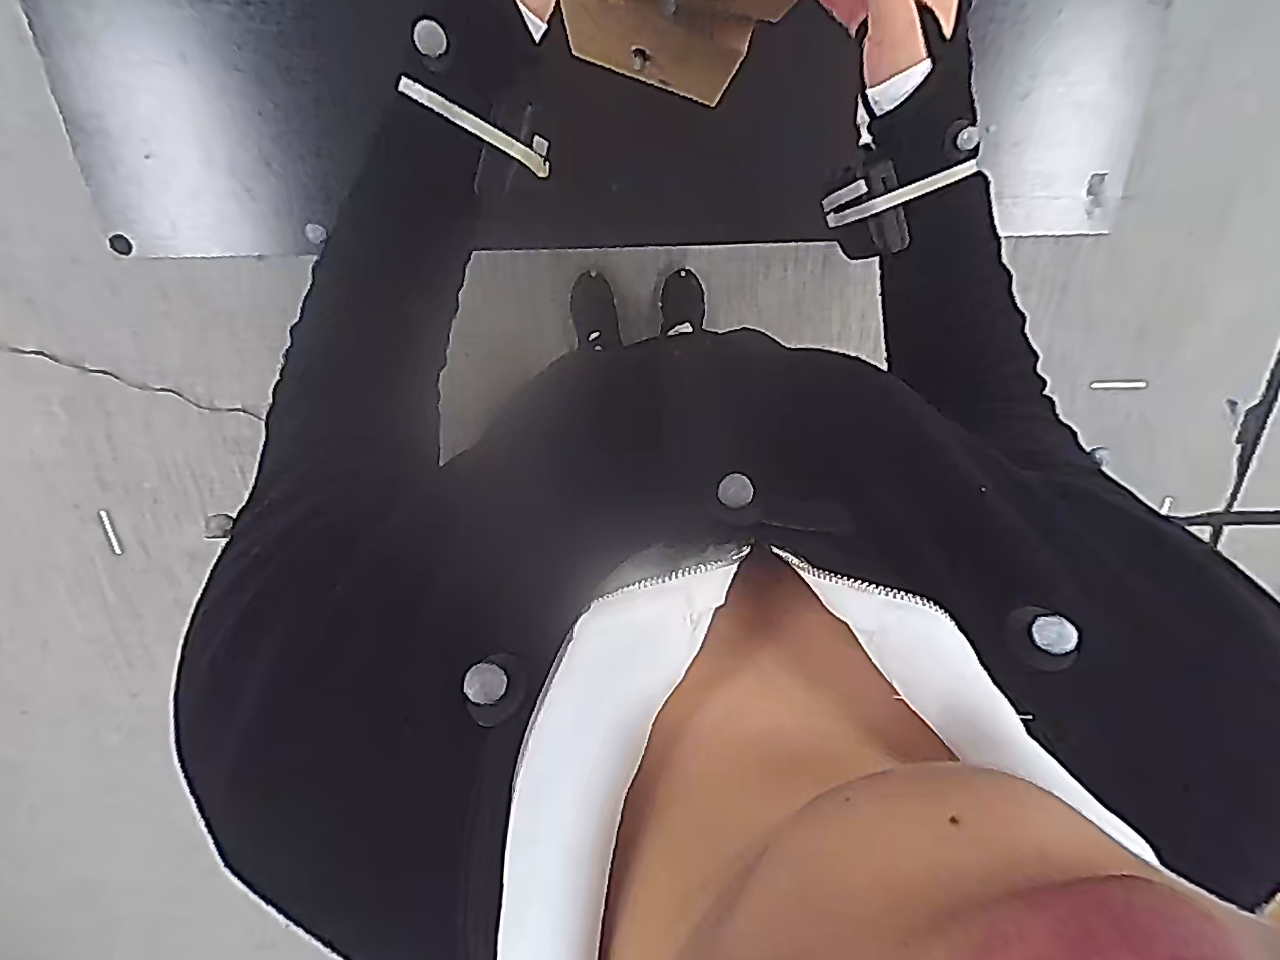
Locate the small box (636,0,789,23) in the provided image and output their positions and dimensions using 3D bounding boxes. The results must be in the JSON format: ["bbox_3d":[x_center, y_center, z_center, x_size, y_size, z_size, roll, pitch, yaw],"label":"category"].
[{"bbox_3d":[0.044,-0.421,0.324,0.168,0.176,0.179,5,116,-6],"label":"small box"}]

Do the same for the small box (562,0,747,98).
[{"bbox_3d":[0.030,-0.491,0.496,0.168,0.176,0.179,15,110,-8],"label":"small box"}]
